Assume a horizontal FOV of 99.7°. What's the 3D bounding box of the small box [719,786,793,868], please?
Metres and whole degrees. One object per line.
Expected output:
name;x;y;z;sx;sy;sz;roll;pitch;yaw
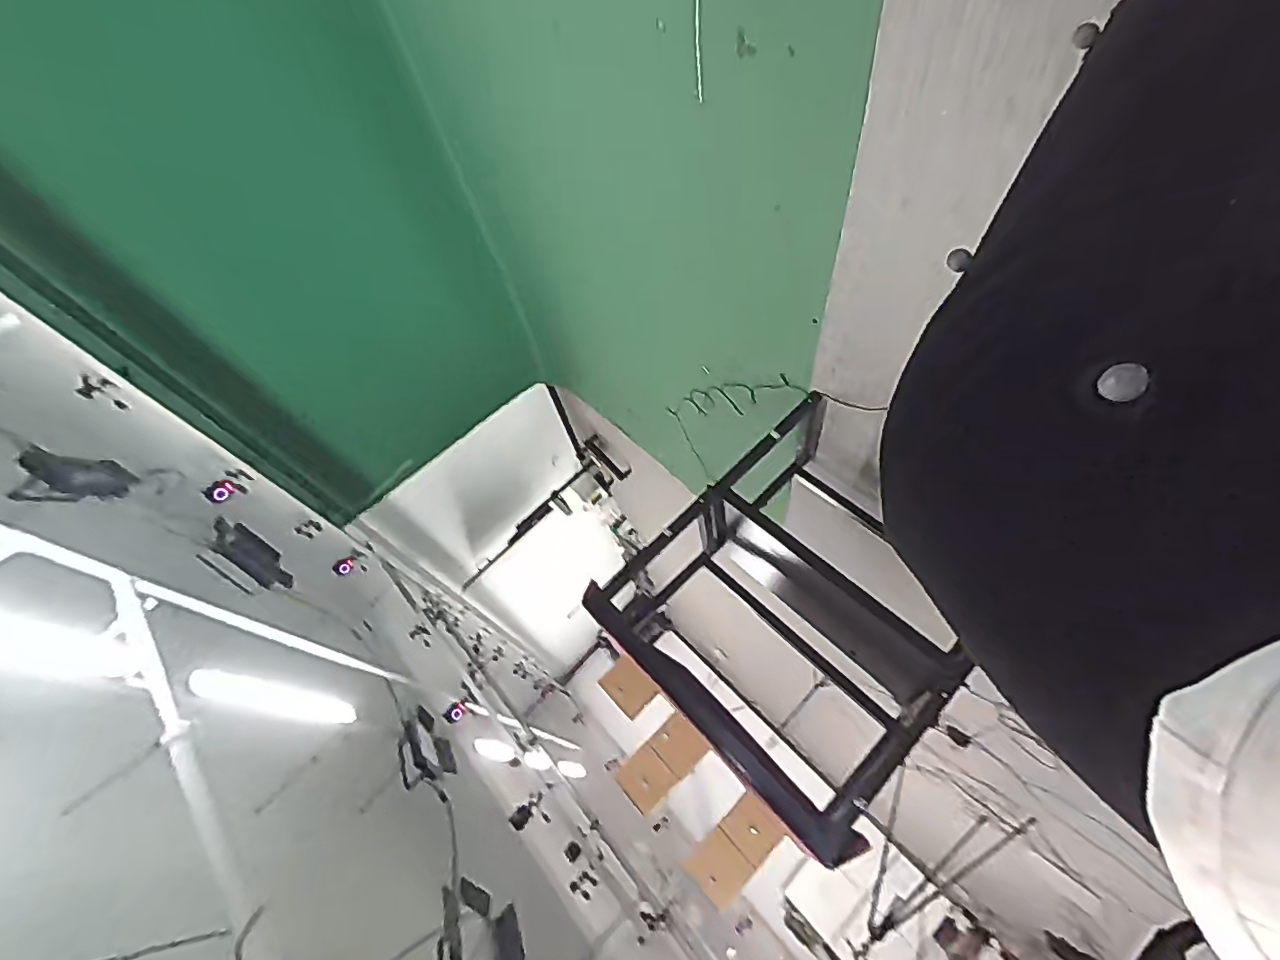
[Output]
small box;0.387;1.157;1.817;0.179;0.176;0.168;39;163;30

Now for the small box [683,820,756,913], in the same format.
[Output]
small box;0.267;1.263;1.779;0.179;0.176;0.168;41;163;29

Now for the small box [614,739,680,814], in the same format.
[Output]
small box;0.035;1.072;1.962;0.179;0.176;0.168;41;163;26

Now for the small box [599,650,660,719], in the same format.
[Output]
small box;-0.033;0.800;2.118;0.179;0.176;0.168;41;162;26
